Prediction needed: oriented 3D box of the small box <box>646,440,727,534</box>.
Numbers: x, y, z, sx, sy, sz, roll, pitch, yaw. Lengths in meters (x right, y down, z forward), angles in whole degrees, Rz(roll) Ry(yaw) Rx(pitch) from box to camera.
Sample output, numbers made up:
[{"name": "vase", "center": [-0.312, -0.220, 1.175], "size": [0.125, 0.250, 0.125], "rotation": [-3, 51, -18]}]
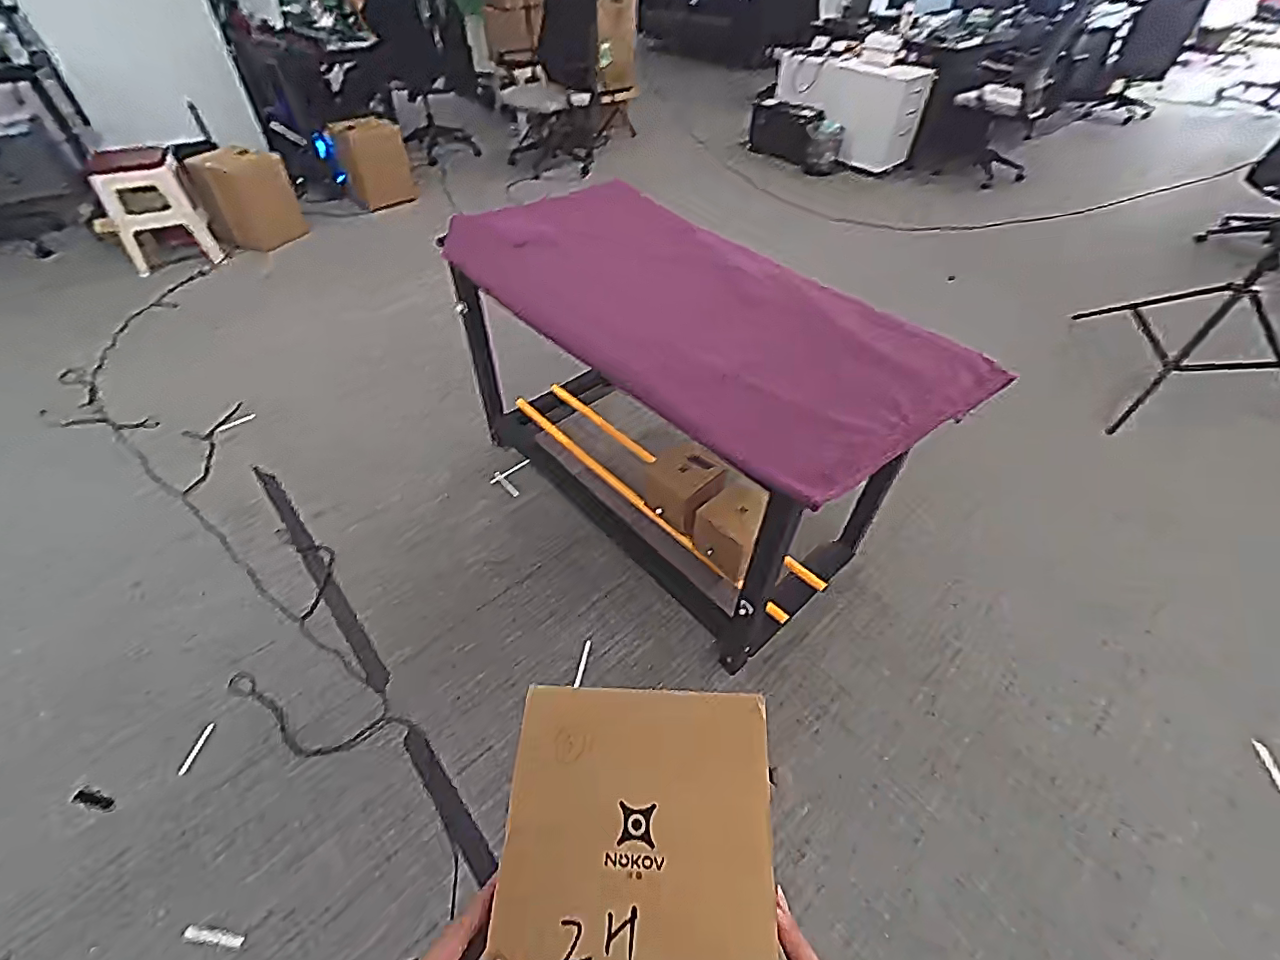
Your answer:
[{"name": "small box", "center": [0.129, 0.020, 1.581], "size": [0.179, 0.176, 0.168], "rotation": [-35, 56, -27]}]

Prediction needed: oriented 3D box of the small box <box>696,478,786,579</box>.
[{"name": "small box", "center": [0.268, 0.133, 1.476], "size": [0.179, 0.176, 0.168], "rotation": [-35, 56, -27]}]

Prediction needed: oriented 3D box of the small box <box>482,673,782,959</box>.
[{"name": "small box", "center": [0.008, 0.250, 0.389], "size": [0.168, 0.176, 0.179], "rotation": [-2, 58, 9]}]
